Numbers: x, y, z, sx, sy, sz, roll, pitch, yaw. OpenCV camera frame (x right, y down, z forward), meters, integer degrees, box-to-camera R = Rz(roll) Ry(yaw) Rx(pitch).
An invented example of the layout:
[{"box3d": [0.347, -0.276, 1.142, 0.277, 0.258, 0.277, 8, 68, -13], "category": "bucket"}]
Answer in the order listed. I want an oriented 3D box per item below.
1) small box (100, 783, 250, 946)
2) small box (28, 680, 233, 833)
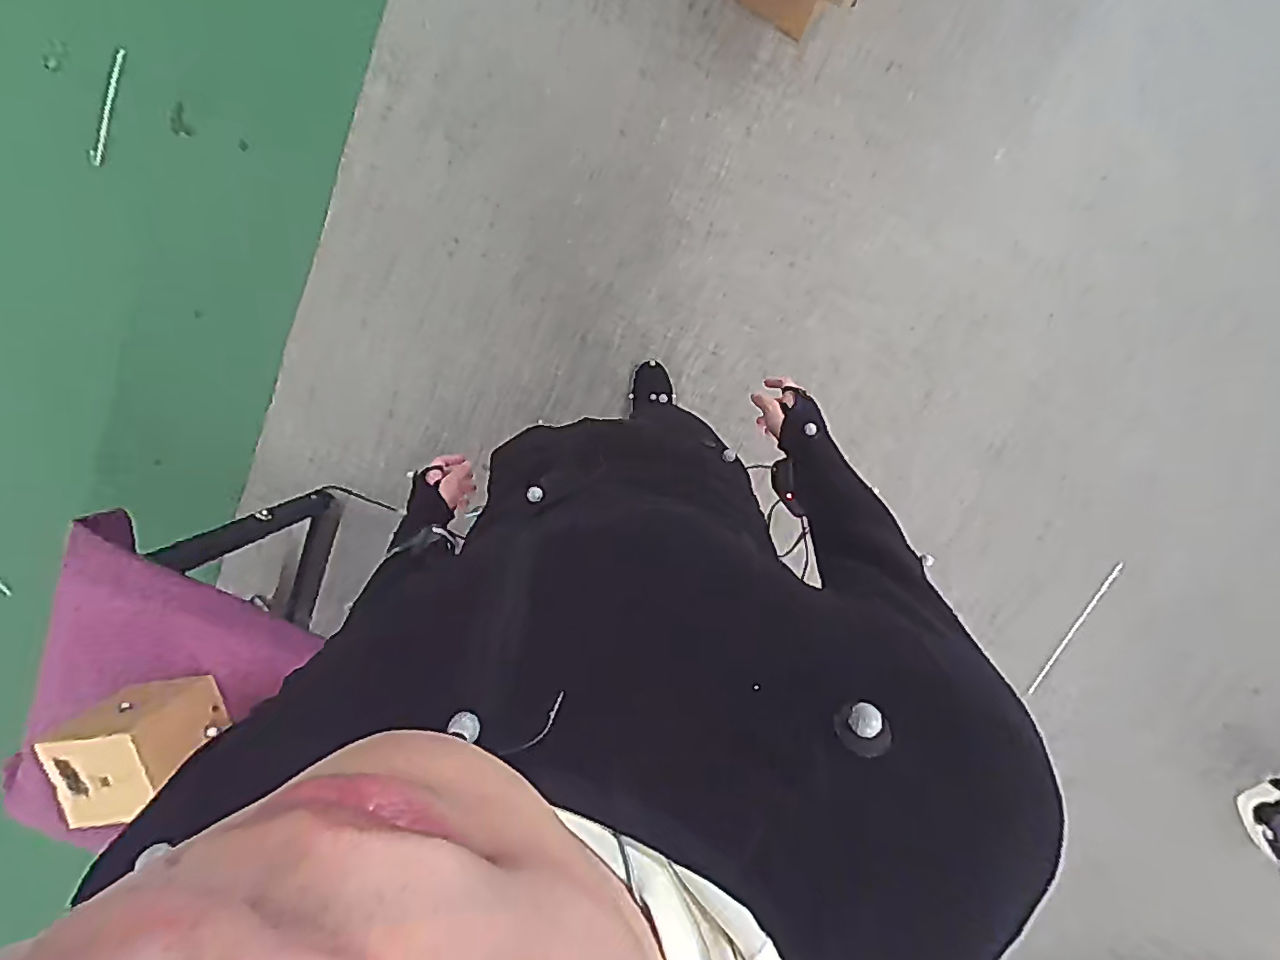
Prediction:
[{"box3d": [-0.837, 0.702, 1.004, 0.168, 0.176, 0.179, 10, 103, 0], "category": "small box"}, {"box3d": [-0.880, 0.478, 0.953, 0.179, 0.176, 0.168, -9, 103, 4], "category": "small box"}]
